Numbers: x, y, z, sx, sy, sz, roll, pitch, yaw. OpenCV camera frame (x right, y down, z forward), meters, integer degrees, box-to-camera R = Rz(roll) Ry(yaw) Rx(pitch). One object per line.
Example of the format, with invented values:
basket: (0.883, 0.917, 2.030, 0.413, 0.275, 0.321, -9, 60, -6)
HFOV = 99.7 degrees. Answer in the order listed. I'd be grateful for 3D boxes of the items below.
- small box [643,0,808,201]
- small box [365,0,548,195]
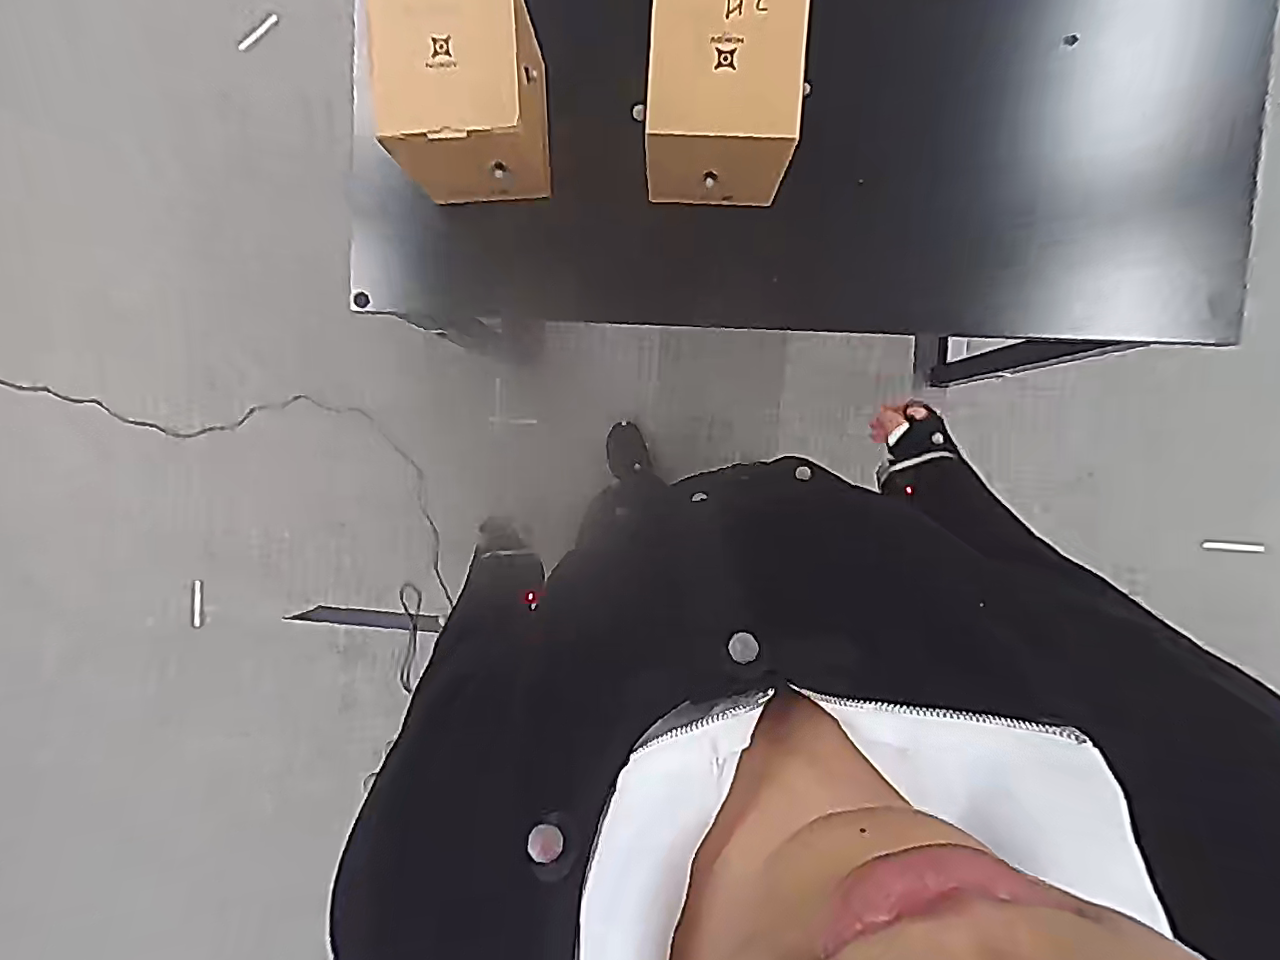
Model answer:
small box: (0.095, -0.458, 0.650, 0.168, 0.176, 0.179, 4, 94, 2)
small box: (-0.212, -0.472, 0.666, 0.168, 0.176, 0.179, -2, 93, 2)
